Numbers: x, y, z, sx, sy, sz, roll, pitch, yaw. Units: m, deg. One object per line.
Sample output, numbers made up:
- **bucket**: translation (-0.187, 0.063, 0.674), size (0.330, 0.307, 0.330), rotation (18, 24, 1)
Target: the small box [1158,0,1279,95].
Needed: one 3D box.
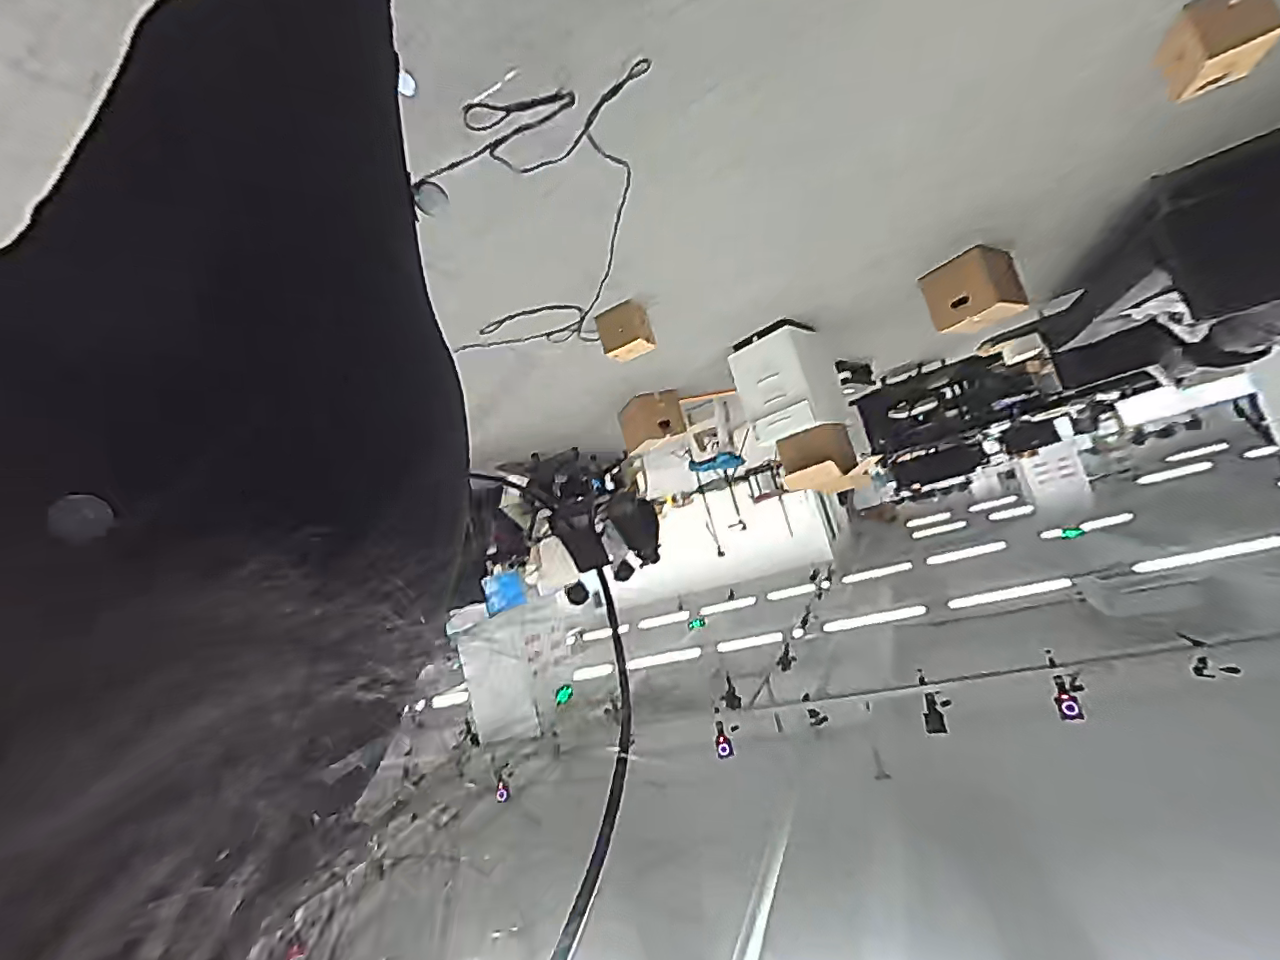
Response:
- **small box**: translation (1.540, -1.195, 1.441), size (0.168, 0.176, 0.179), rotation (-18, 173, 22)

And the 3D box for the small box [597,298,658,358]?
- **small box**: translation (-0.055, -0.635, 2.255), size (0.179, 0.176, 0.168), rotation (-20, 172, 25)
